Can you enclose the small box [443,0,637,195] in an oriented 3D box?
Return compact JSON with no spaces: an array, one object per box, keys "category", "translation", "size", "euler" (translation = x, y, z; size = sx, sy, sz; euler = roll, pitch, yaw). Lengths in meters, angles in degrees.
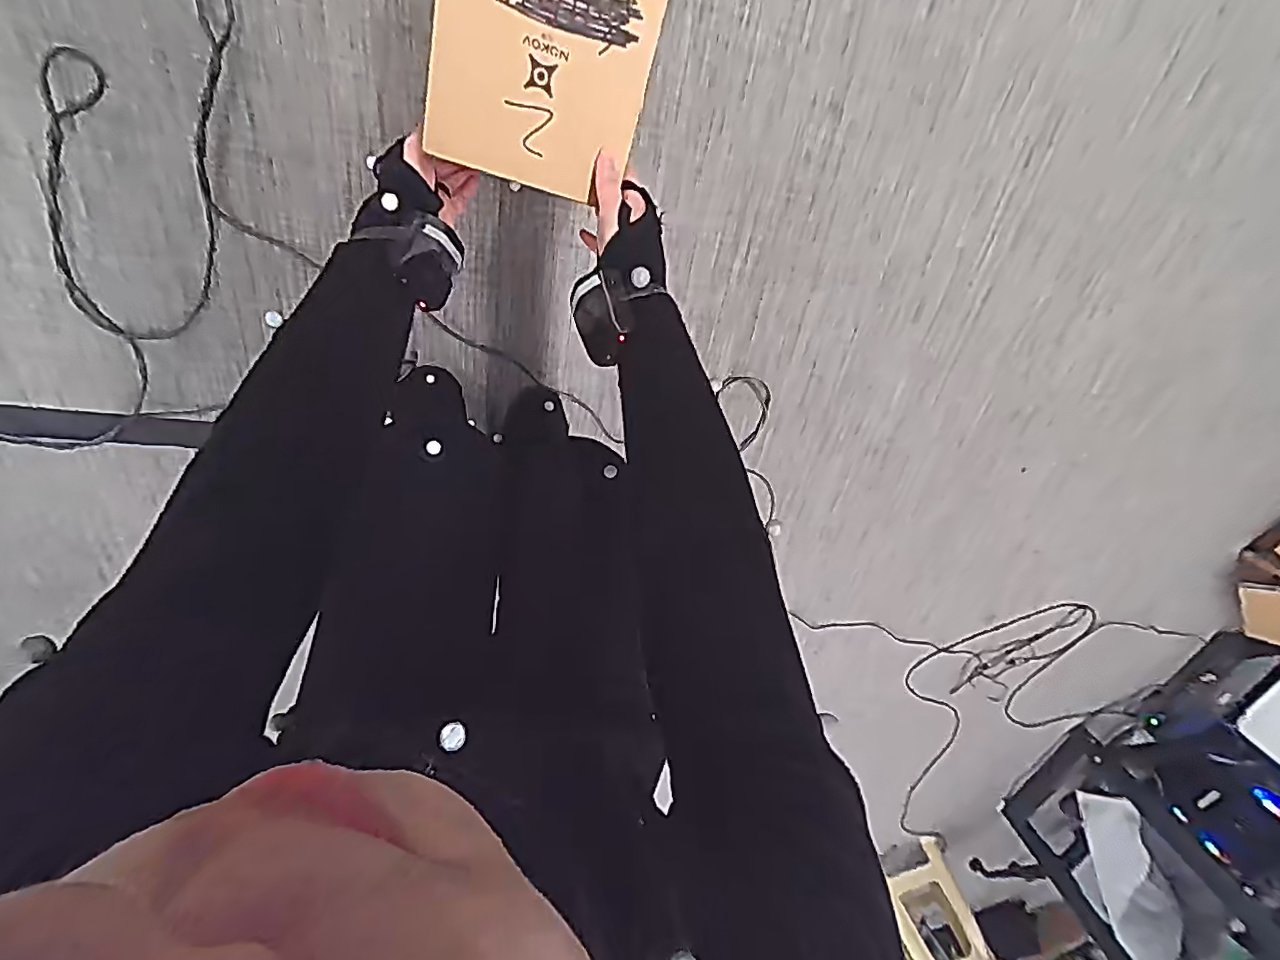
[{"category":"small box","translation":[-0.121,-0.449,0.630],"size":[0.179,0.176,0.168],"euler":[8,119,-18]}]
